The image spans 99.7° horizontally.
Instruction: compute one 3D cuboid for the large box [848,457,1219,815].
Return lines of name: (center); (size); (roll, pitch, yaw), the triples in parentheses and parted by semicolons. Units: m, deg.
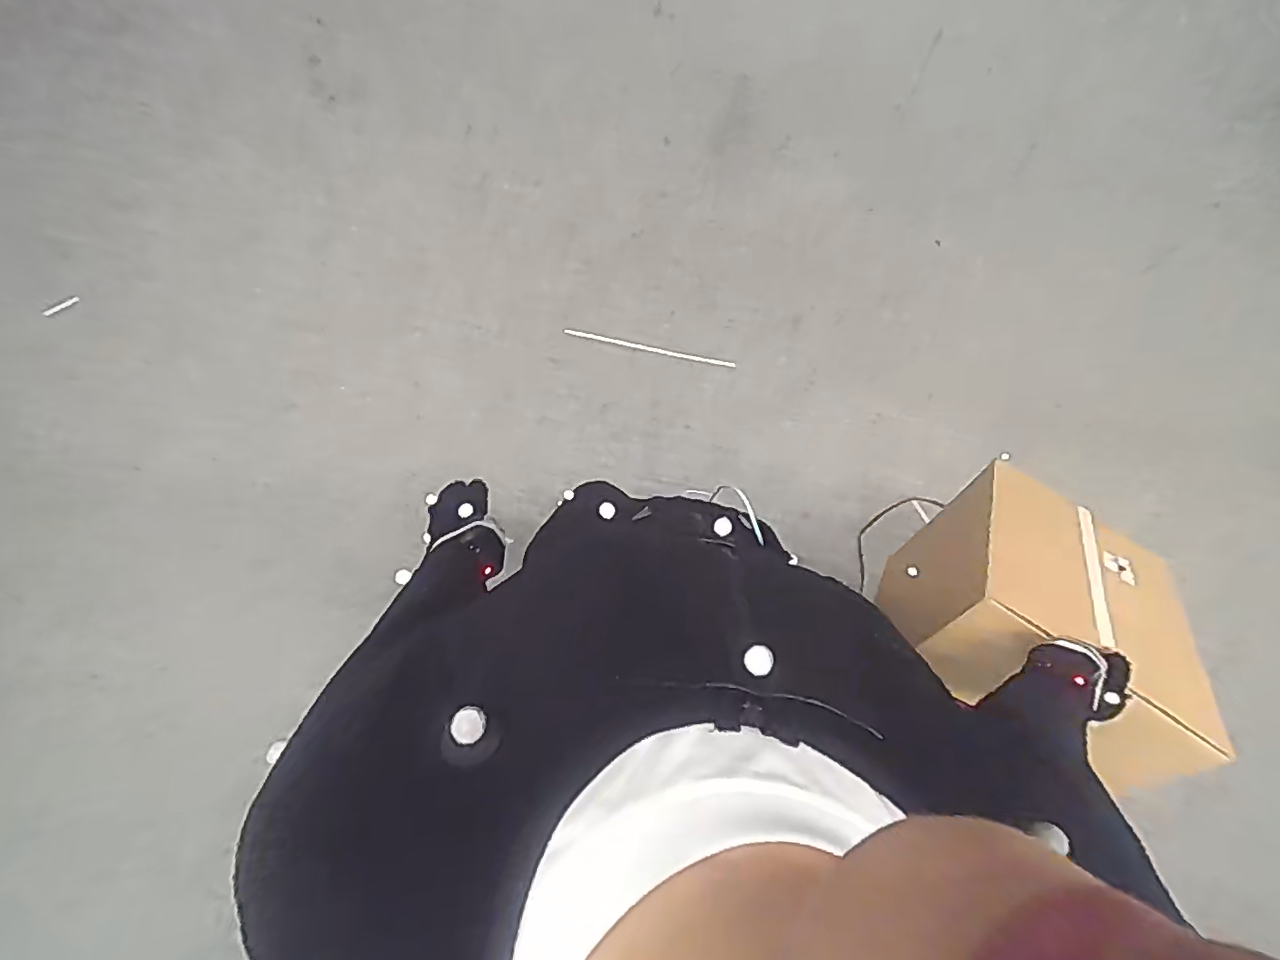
large box: (0.596, 0.237, 0.893); (0.320, 0.408, 0.320); (36, 132, 10)
